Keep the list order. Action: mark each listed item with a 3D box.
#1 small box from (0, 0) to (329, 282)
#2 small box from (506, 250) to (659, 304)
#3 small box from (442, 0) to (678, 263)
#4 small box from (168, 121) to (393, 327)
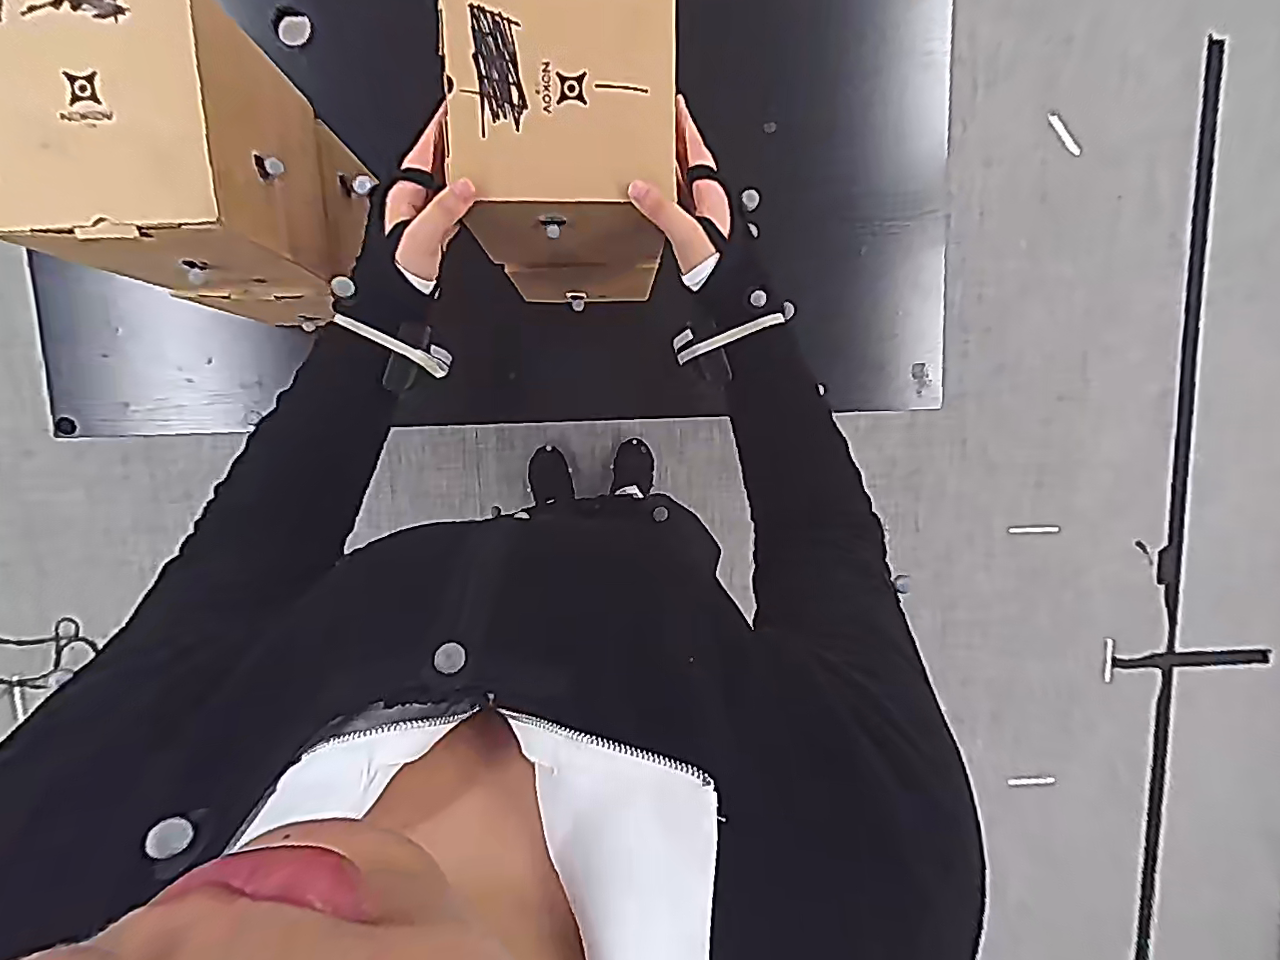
[{"bbox_3d":[-0.394,-0.274,0.463,0.168,0.176,0.179,-4,97,-4],"label":"small box"},{"bbox_3d":[-0.068,-0.319,0.647,0.168,0.176,0.179,-3,97,-2],"label":"small box"},{"bbox_3d":[-0.062,-0.301,0.484,0.179,0.176,0.168,-1,97,-3],"label":"small box"},{"bbox_3d":[-0.403,-0.283,0.627,0.168,0.176,0.179,-1,97,-4],"label":"small box"}]
